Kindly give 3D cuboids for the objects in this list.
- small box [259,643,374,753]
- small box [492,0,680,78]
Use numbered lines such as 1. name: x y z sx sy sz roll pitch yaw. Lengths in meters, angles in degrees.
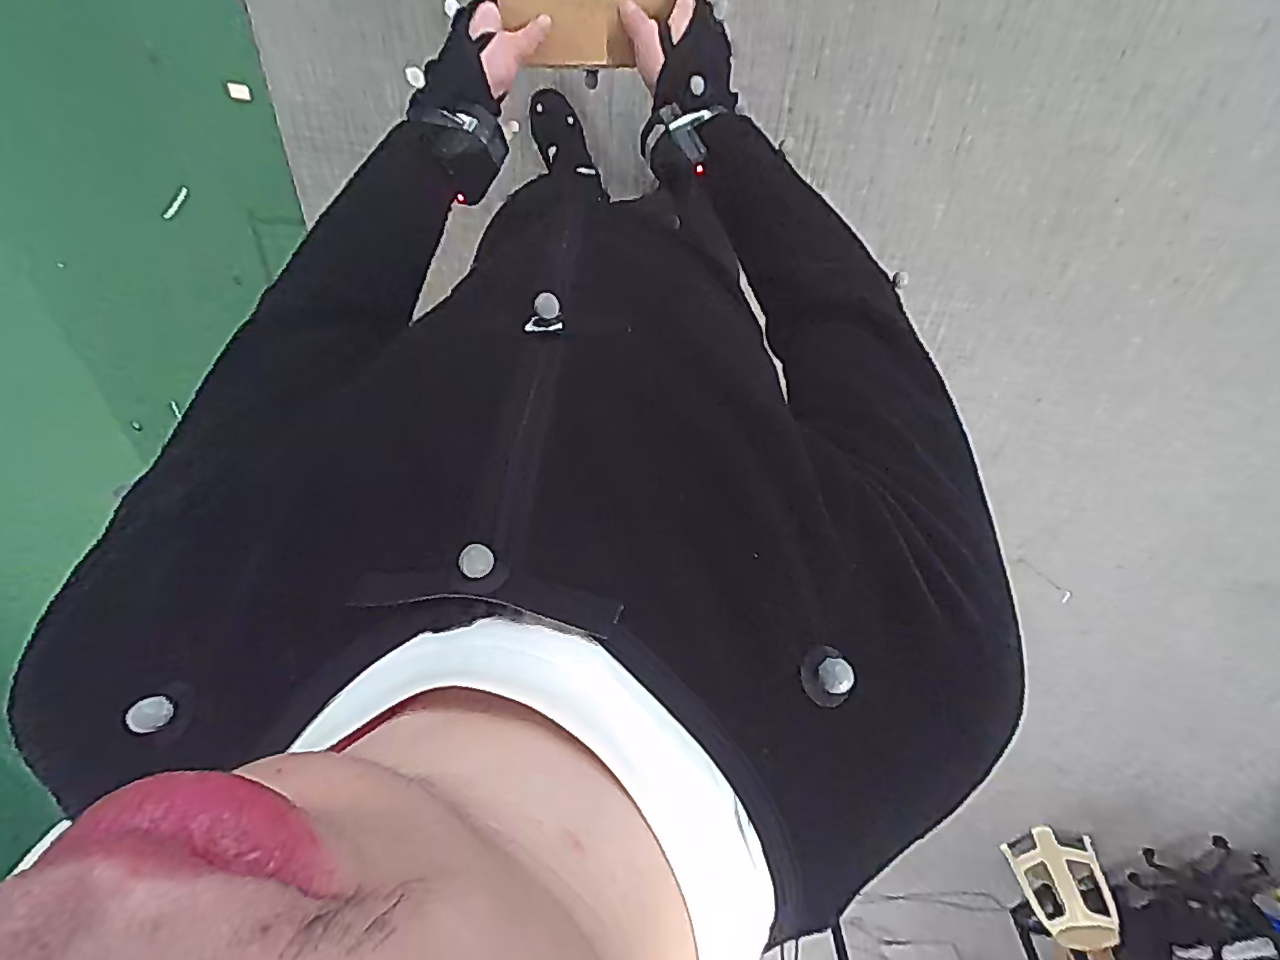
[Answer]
1. small box: -0.755 0.513 1.283 0.168 0.176 0.179 12 126 -4
2. small box: -0.043 -0.493 0.508 0.168 0.176 0.179 3 127 0
